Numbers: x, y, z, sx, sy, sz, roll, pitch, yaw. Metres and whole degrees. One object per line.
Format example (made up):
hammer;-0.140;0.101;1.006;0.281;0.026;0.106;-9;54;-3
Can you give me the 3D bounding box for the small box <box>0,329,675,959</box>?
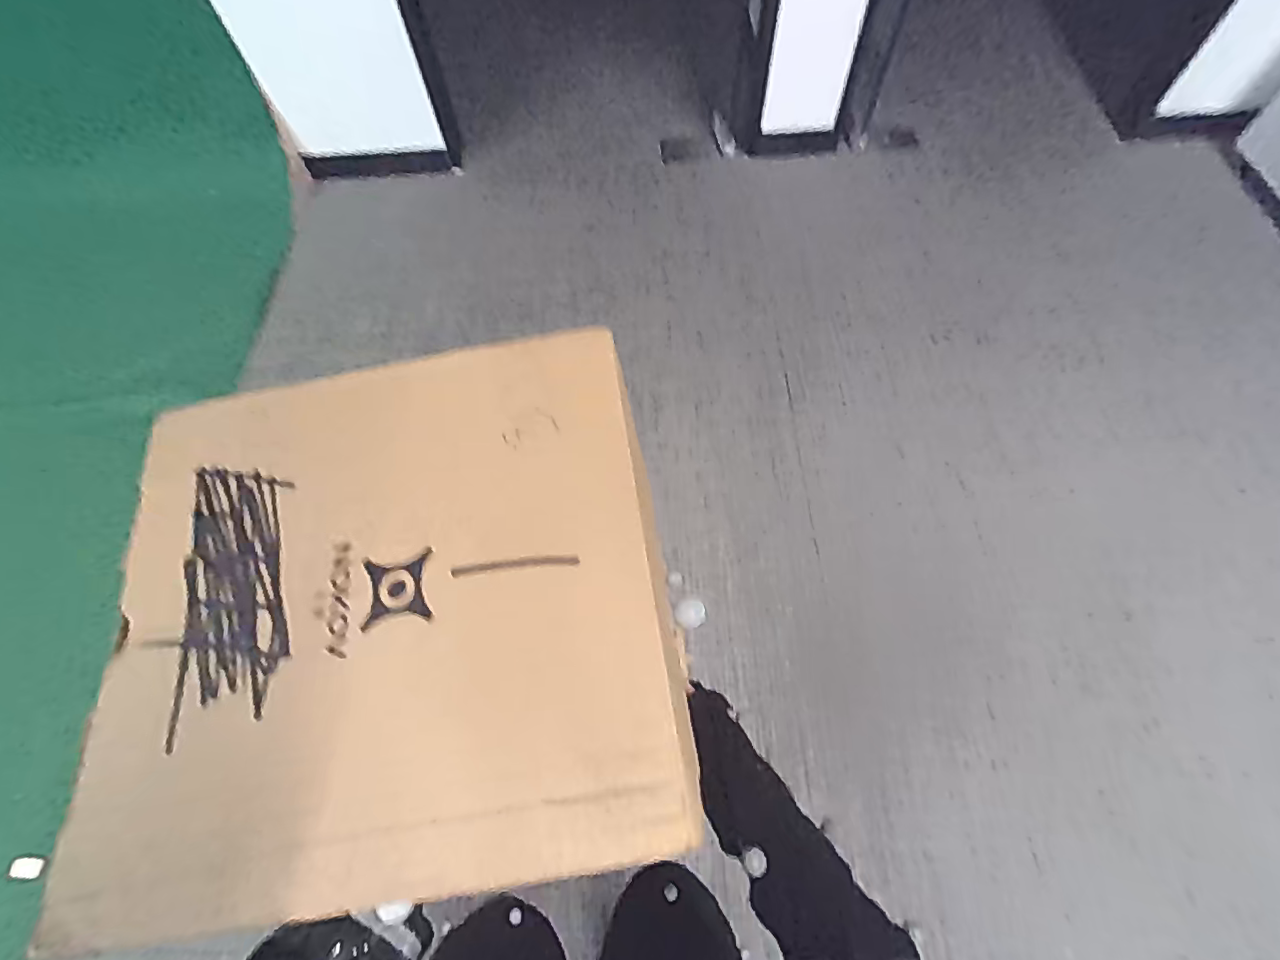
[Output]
small box;-0.086;0.066;0.235;0.179;0.176;0.168;-10;67;3
